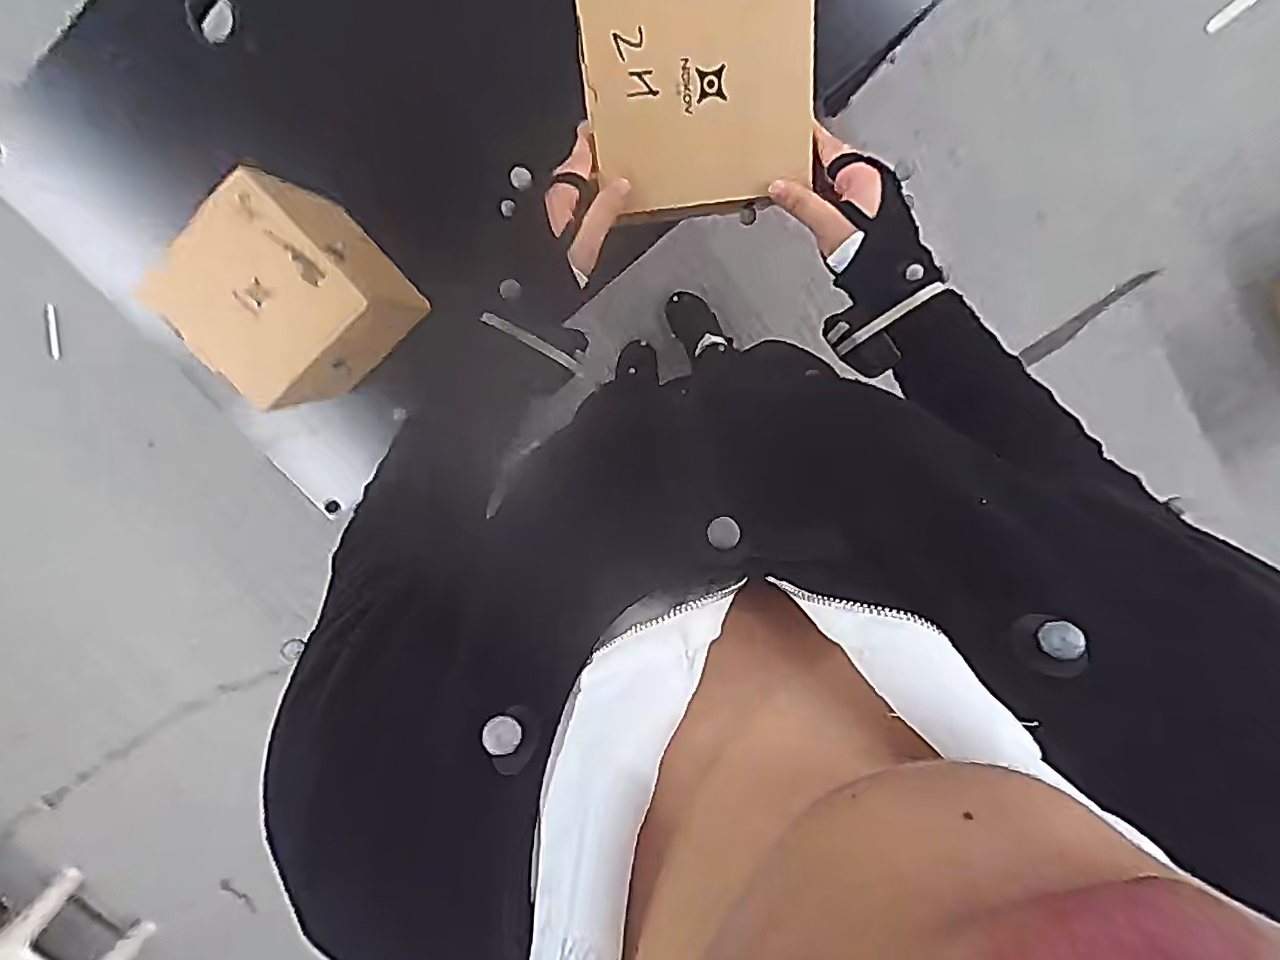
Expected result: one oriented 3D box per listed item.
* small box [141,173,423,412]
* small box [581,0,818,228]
[{"bbox_3d":[-0.390,-0.204,0.623,0.179,0.176,0.168,-40,102,11],"label":"small box"},{"bbox_3d":[0.046,-0.328,0.488,0.179,0.176,0.168,-5,111,1],"label":"small box"}]
